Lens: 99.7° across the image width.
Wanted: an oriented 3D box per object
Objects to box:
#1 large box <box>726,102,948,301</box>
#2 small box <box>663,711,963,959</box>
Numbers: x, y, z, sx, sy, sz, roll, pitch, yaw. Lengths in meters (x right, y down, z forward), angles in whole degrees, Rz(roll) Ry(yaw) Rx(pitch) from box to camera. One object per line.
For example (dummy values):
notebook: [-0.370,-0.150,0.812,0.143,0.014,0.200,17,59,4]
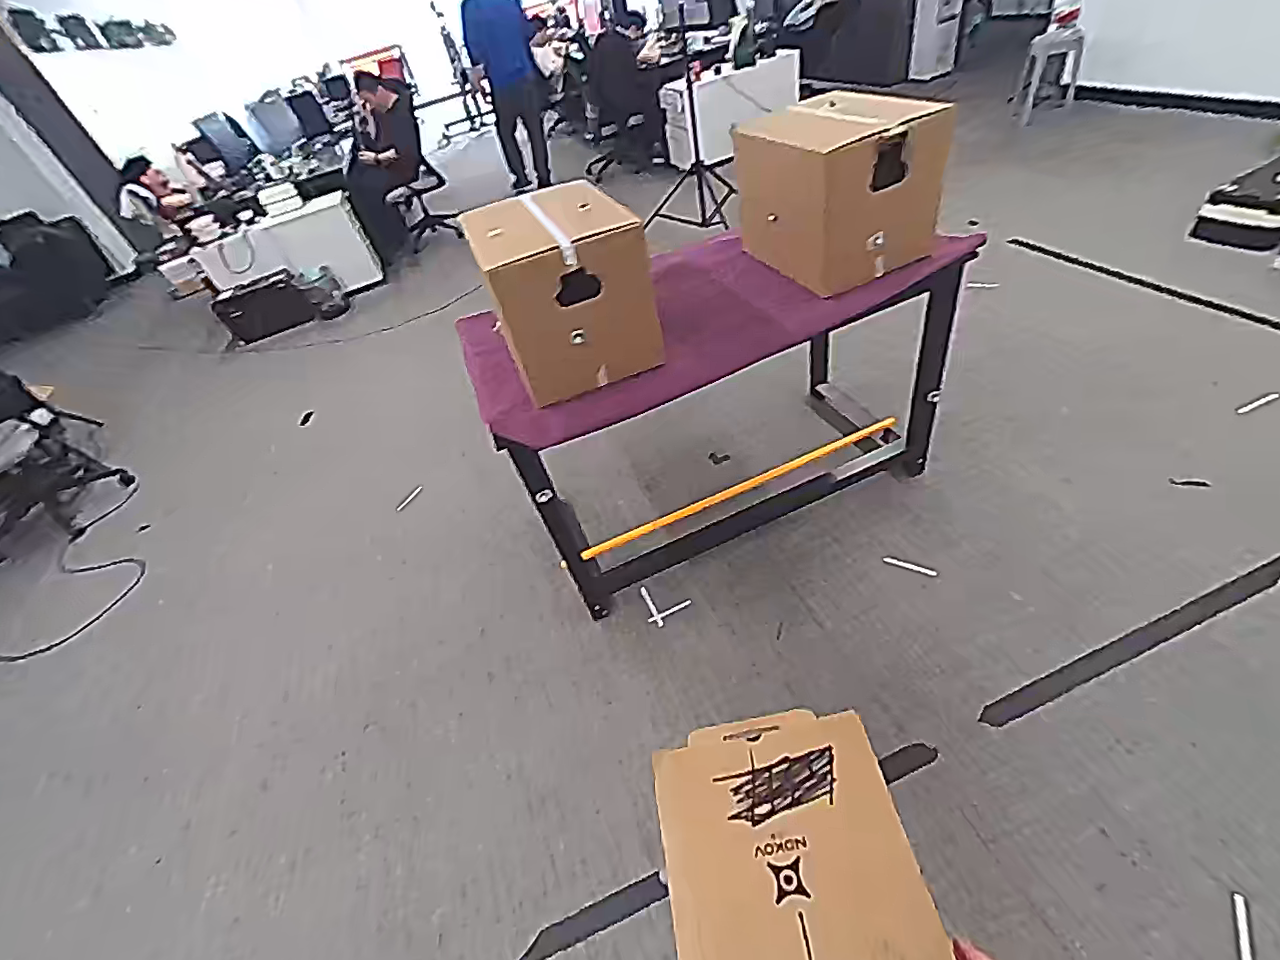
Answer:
large box: [0.459,-0.690,1.325,0.320,0.320,0.408,-23,42,-8]
small box: [0.122,0.311,0.421,0.168,0.176,0.179,-14,46,5]
